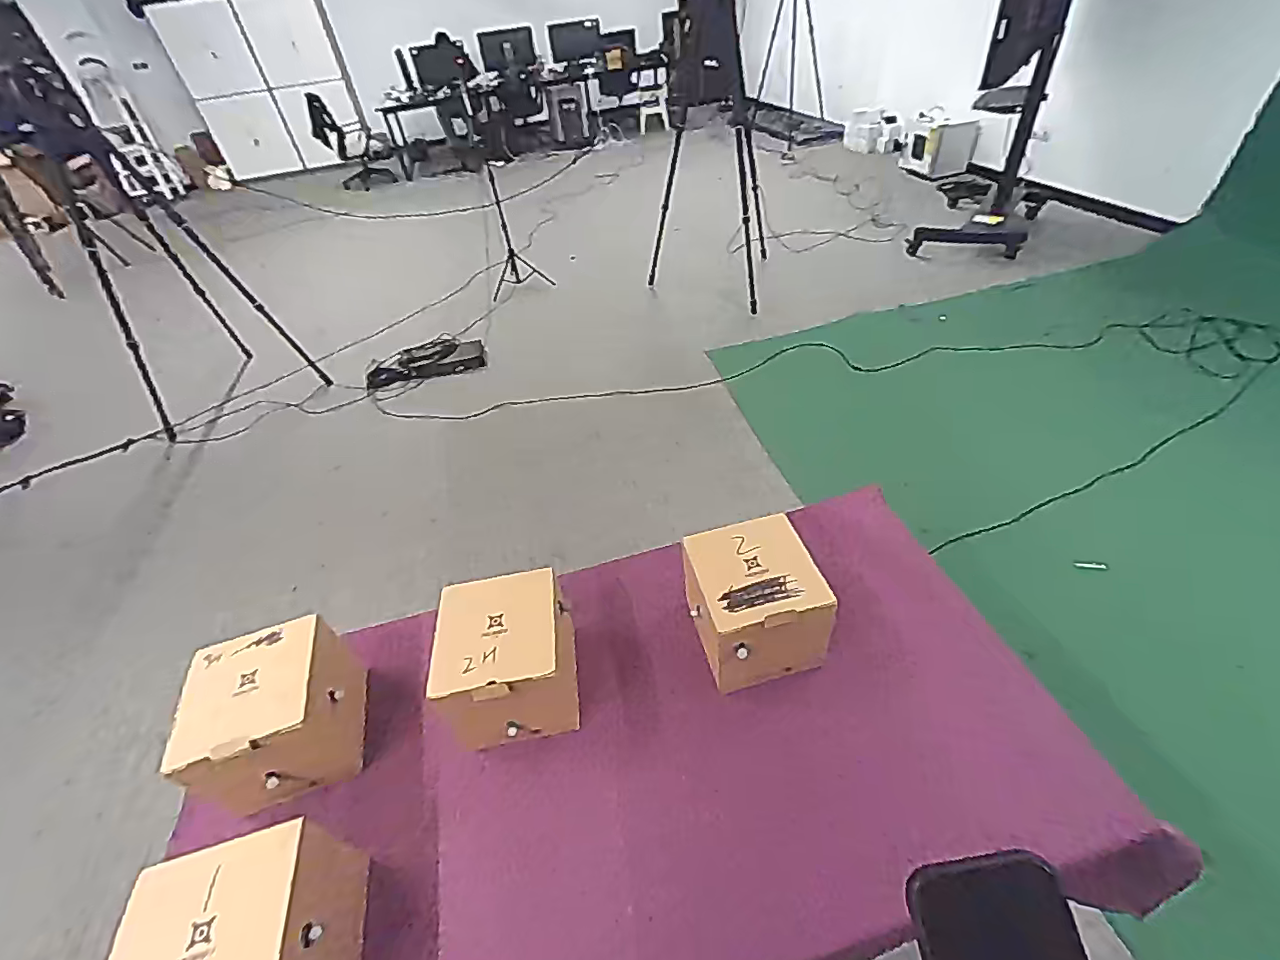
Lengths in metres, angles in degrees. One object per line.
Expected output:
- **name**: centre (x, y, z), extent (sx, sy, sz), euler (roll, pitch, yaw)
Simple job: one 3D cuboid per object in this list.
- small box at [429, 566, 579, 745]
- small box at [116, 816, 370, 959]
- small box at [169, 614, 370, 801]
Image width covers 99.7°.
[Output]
- **small box**: centre (-0.187, 0.257, 0.794), extent (0.168, 0.176, 0.179), euler (-10, 43, -1)
- **small box**: centre (-0.408, 0.500, 0.572), extent (0.168, 0.176, 0.179), euler (-15, 42, -8)
- **small box**: centre (-0.505, 0.329, 0.770), extent (0.168, 0.176, 0.179), euler (-17, 44, -10)
